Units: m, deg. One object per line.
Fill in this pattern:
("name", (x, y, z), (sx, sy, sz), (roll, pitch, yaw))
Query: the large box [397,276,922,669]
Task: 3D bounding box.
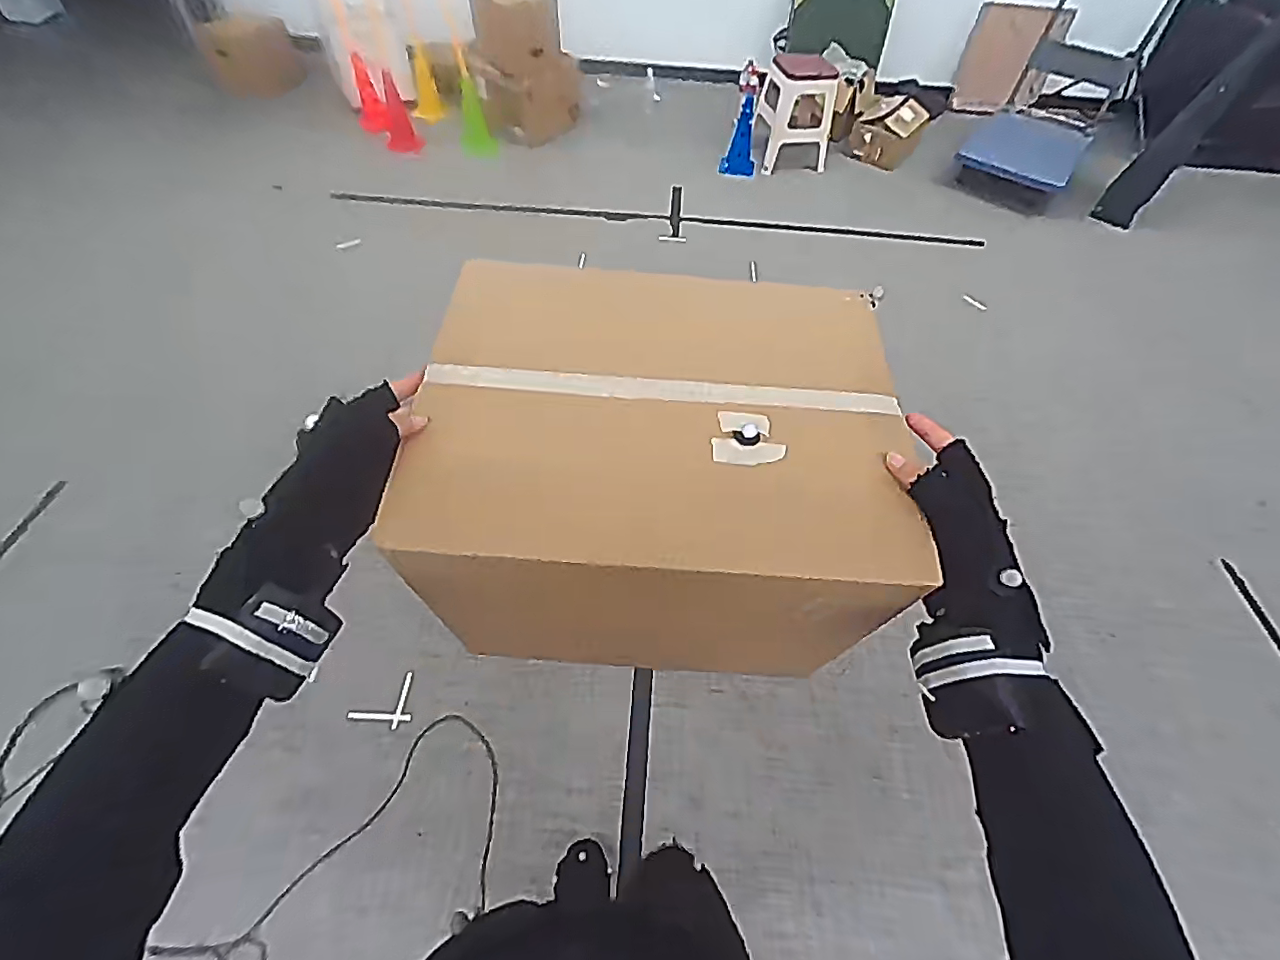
("large box", (0.013, 0.011, 0.605), (0.408, 0.320, 0.320), (5, 59, -1))
